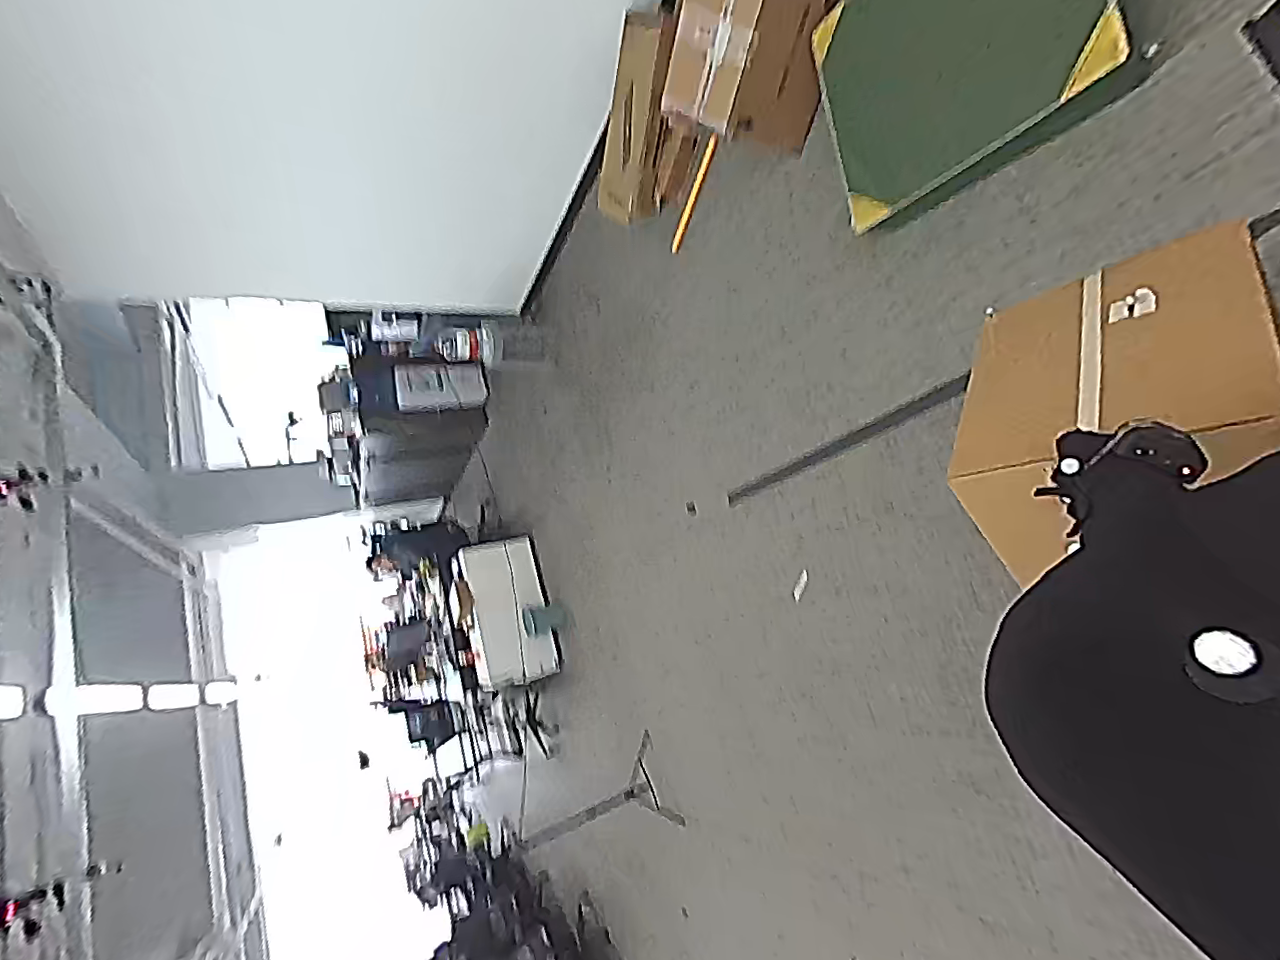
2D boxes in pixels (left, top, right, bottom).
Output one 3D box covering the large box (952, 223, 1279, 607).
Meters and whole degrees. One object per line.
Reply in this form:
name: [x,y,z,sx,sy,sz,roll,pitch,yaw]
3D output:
large box: [0.710,-0.071,0.775,0.320,0.408,0.320,47,147,-19]
